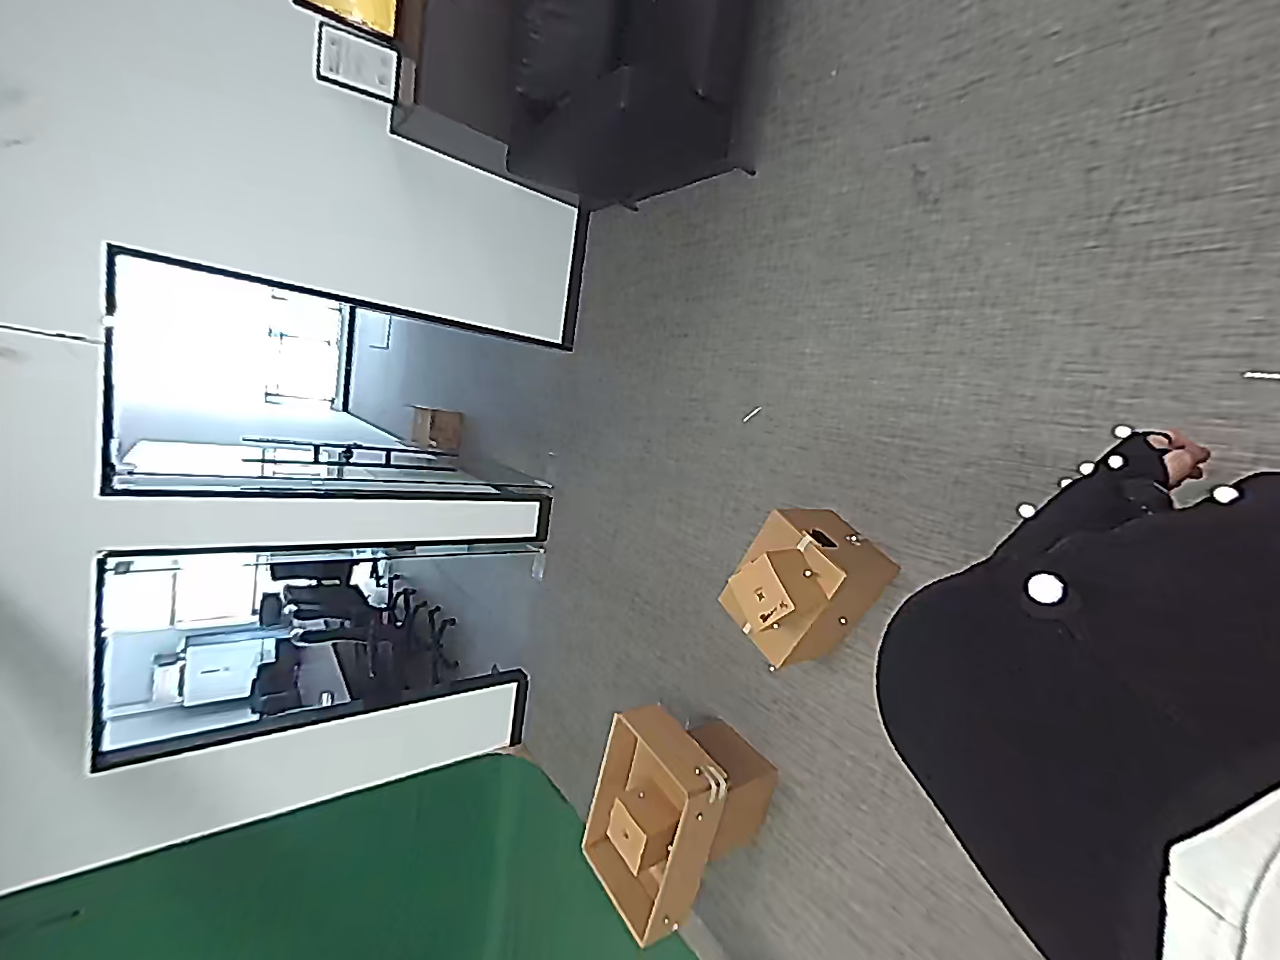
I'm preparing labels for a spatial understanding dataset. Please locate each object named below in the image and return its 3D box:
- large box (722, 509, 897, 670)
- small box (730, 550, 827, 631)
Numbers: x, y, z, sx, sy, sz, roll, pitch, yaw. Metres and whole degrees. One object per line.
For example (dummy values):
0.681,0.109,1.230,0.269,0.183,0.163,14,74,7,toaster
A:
0.545,0.340,1.768,0.320,0.320,0.408,49,125,41,large box
0.398,0.316,1.559,0.168,0.176,0.179,-47,54,38,small box
